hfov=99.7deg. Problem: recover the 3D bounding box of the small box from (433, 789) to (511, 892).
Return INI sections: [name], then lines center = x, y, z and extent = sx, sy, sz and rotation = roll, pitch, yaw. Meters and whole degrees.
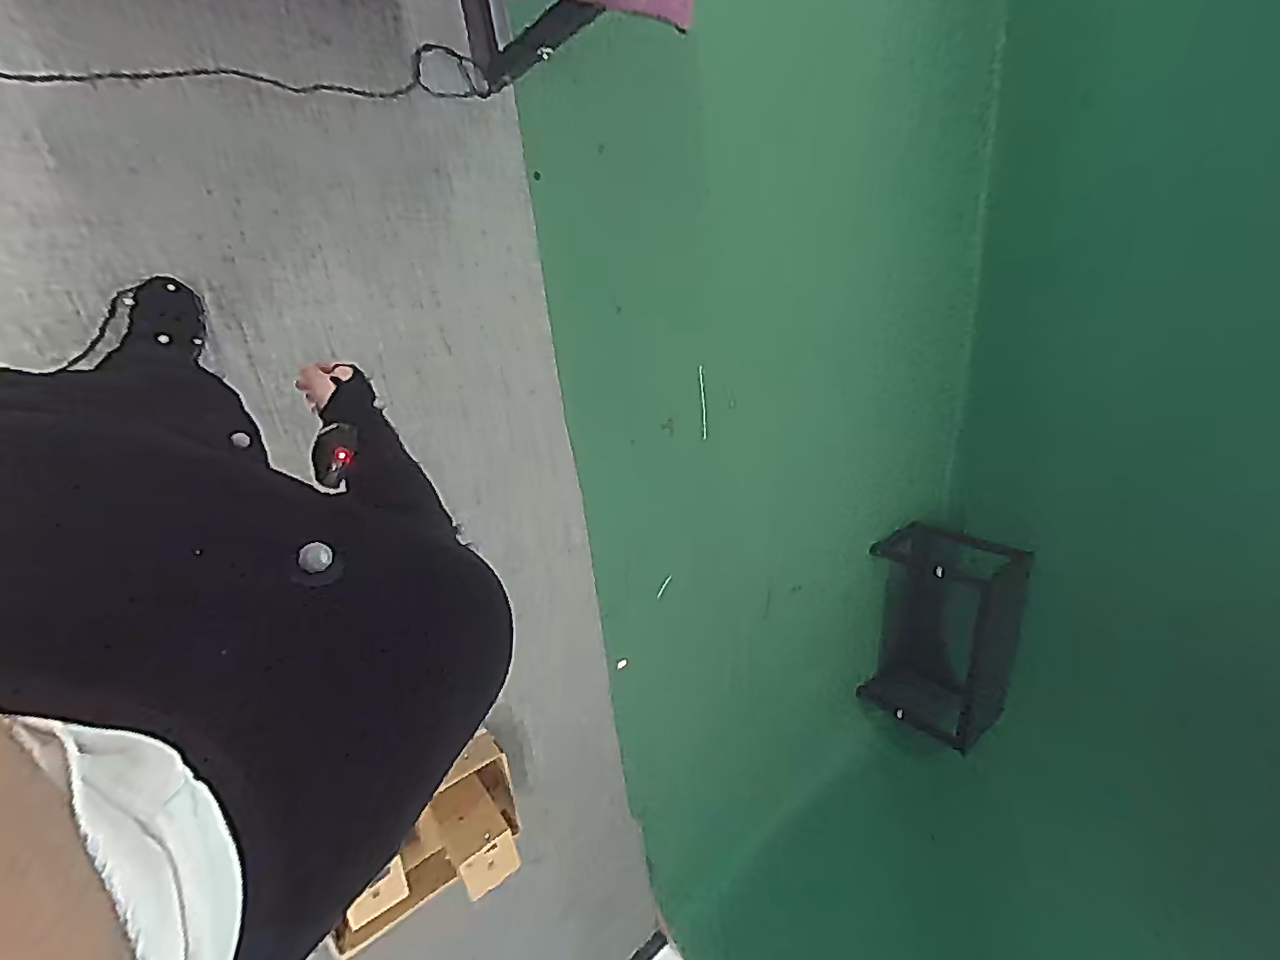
[small box]
center = -0.535, 1.138, 1.720
extent = 0.168, 0.176, 0.179
rotation = -23, 118, -34
